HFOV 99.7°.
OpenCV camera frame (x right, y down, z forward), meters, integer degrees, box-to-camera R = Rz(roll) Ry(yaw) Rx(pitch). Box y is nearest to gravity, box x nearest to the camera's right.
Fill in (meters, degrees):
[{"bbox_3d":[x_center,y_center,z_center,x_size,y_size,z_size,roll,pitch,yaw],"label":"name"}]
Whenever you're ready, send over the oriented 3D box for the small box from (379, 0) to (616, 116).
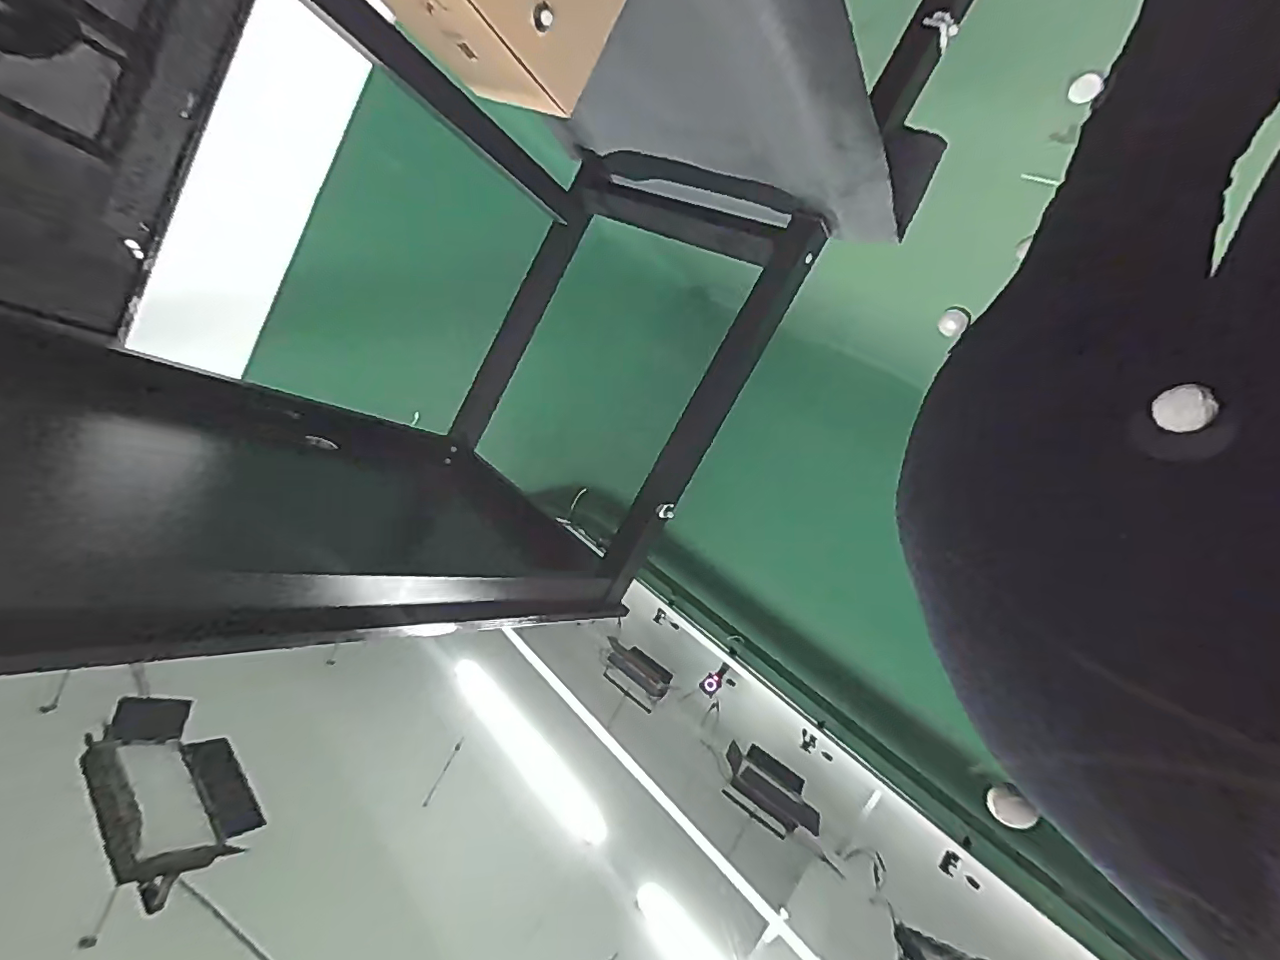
[{"bbox_3d":[-0.136,-0.500,0.517,0.168,0.176,0.179,33,-171,29],"label":"small box"}]
